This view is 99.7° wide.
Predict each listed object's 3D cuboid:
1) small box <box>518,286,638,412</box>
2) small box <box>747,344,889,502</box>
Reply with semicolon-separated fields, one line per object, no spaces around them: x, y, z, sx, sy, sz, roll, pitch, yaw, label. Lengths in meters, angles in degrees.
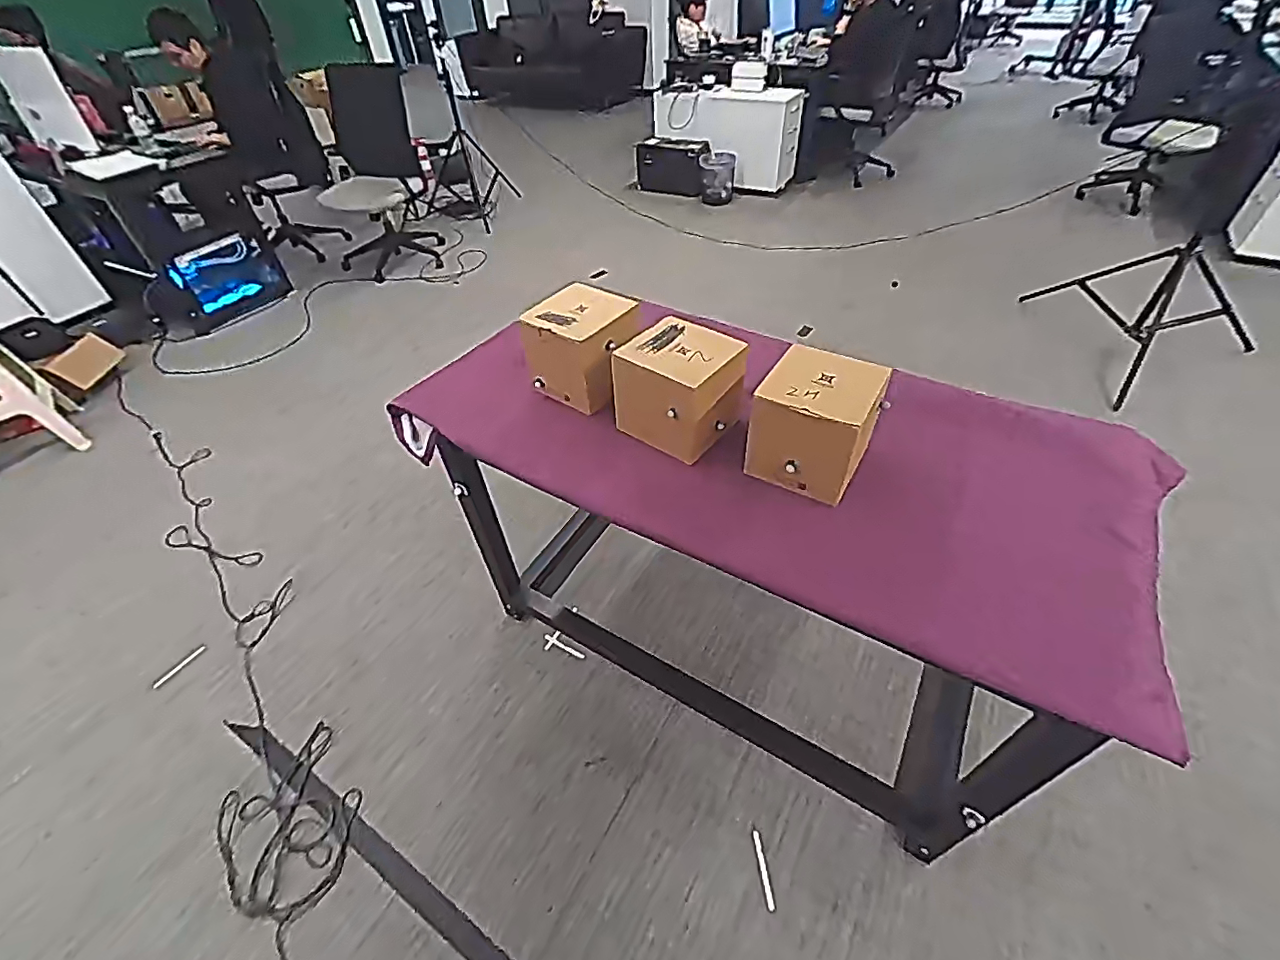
-0.115;-0.264;1.097;0.168;0.176;0.179;27;52;27;small box
0.288;-0.097;0.902;0.168;0.176;0.179;22;50;25;small box
